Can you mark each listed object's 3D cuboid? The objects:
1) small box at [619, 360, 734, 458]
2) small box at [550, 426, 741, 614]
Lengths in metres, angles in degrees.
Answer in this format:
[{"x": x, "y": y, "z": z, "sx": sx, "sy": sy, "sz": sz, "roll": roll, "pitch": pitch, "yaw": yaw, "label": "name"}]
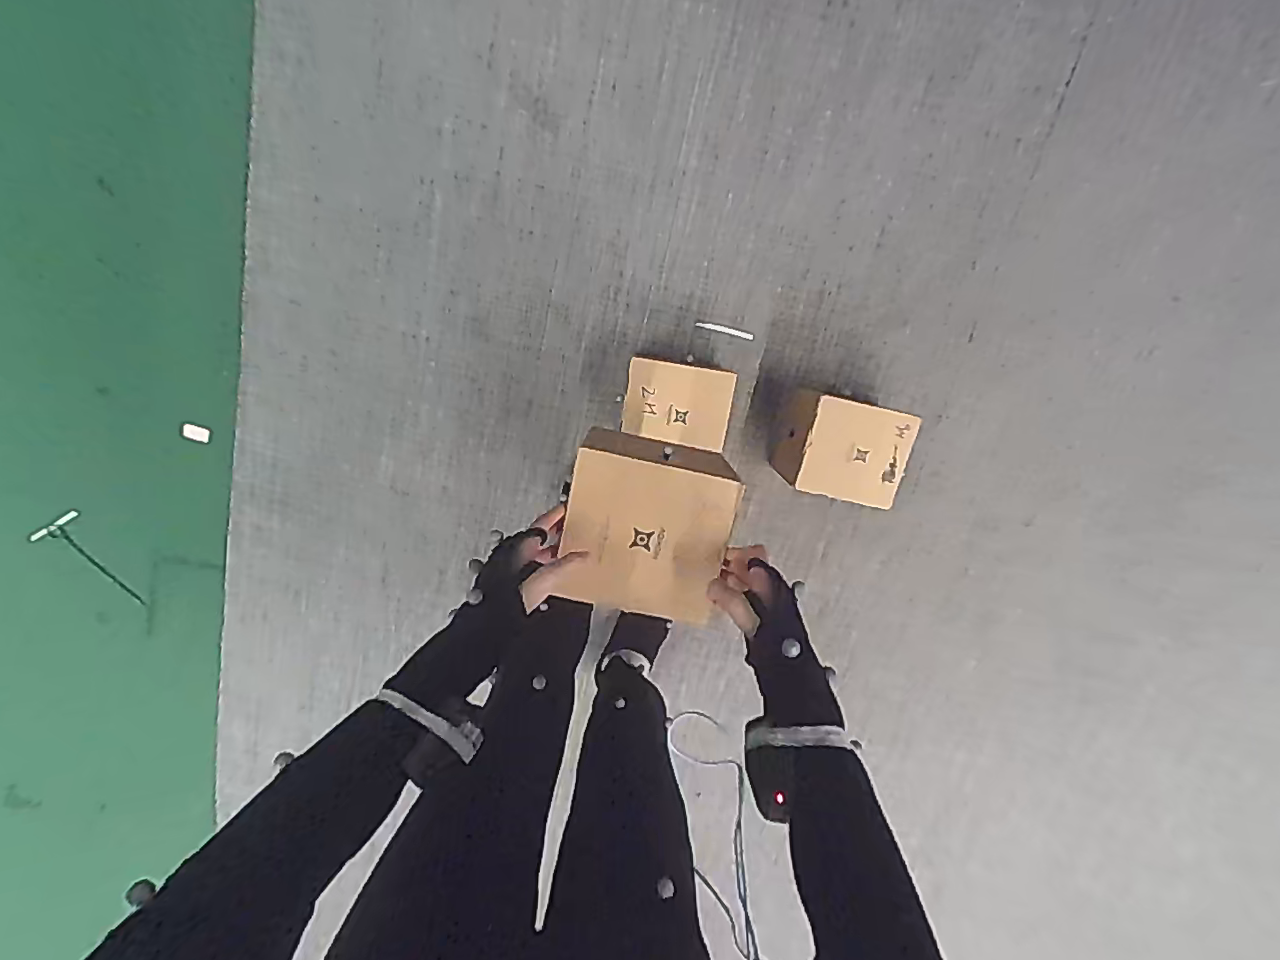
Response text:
[{"x": 0.055, "y": -0.121, "z": 0.975, "sx": 0.179, "sy": 0.176, "sz": 0.168, "roll": 10, "pitch": 103, "yaw": -2, "label": "small box"}, {"x": 0.004, "y": 0.036, "z": 0.658, "sx": 0.179, "sy": 0.176, "sz": 0.168, "roll": 13, "pitch": 102, "yaw": -3, "label": "small box"}]
